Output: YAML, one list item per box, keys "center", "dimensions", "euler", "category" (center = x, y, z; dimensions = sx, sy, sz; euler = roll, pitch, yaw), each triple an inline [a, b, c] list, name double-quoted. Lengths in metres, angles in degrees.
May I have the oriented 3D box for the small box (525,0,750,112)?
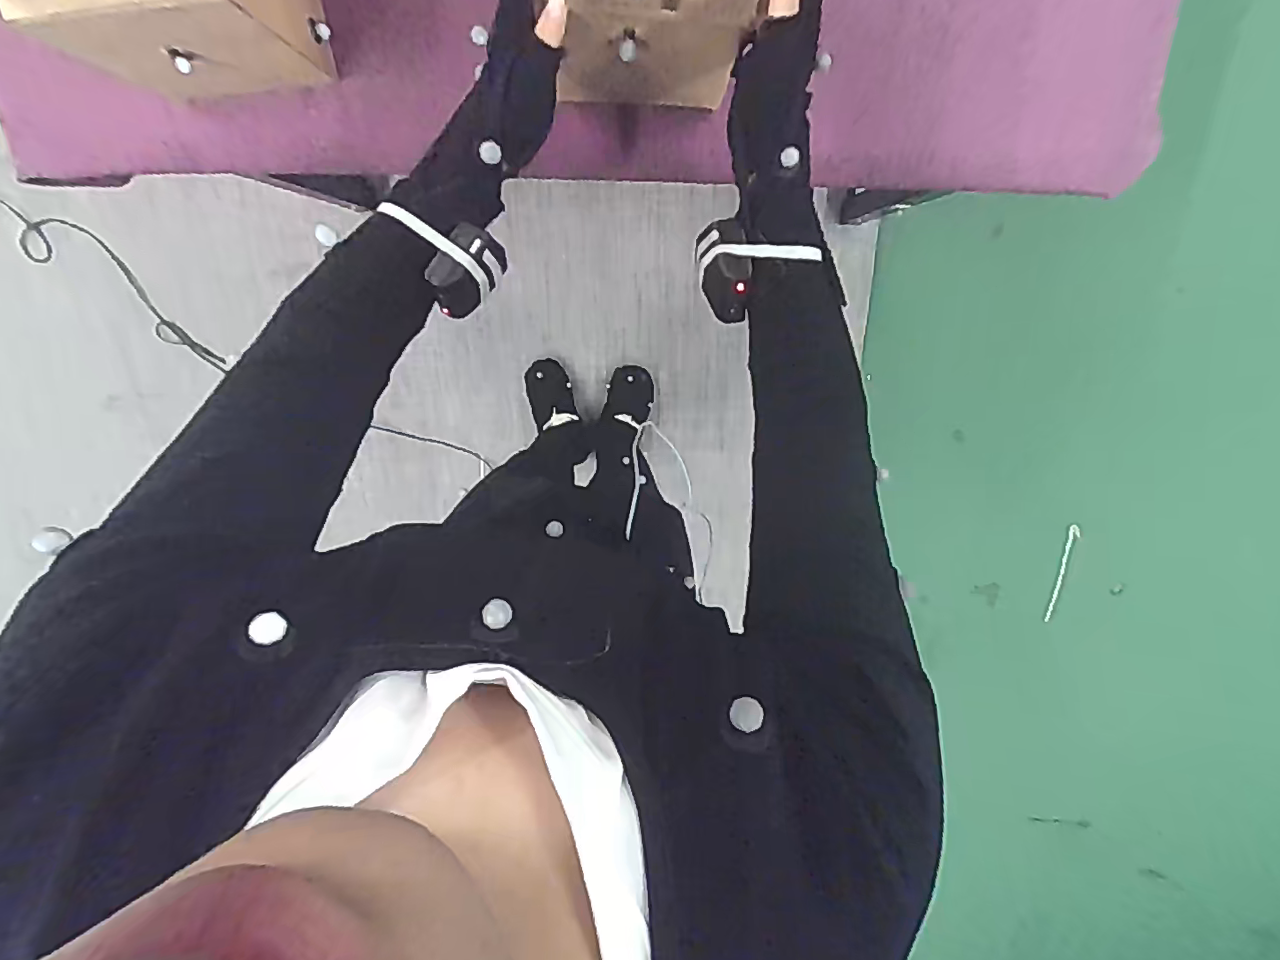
- center: [0.001, -0.451, 0.476]
  dimensions: [0.179, 0.176, 0.168]
  euler: [3, 104, -1]
  category: "small box"

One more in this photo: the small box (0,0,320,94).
- center: [-0.409, -0.461, 0.465]
  dimensions: [0.179, 0.176, 0.168]
  euler: [-5, 107, 1]
  category: "small box"

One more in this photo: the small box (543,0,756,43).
- center: [0.010, -0.410, 0.317]
  dimensions: [0.168, 0.176, 0.179]
  euler: [6, 104, -2]
  category: "small box"
